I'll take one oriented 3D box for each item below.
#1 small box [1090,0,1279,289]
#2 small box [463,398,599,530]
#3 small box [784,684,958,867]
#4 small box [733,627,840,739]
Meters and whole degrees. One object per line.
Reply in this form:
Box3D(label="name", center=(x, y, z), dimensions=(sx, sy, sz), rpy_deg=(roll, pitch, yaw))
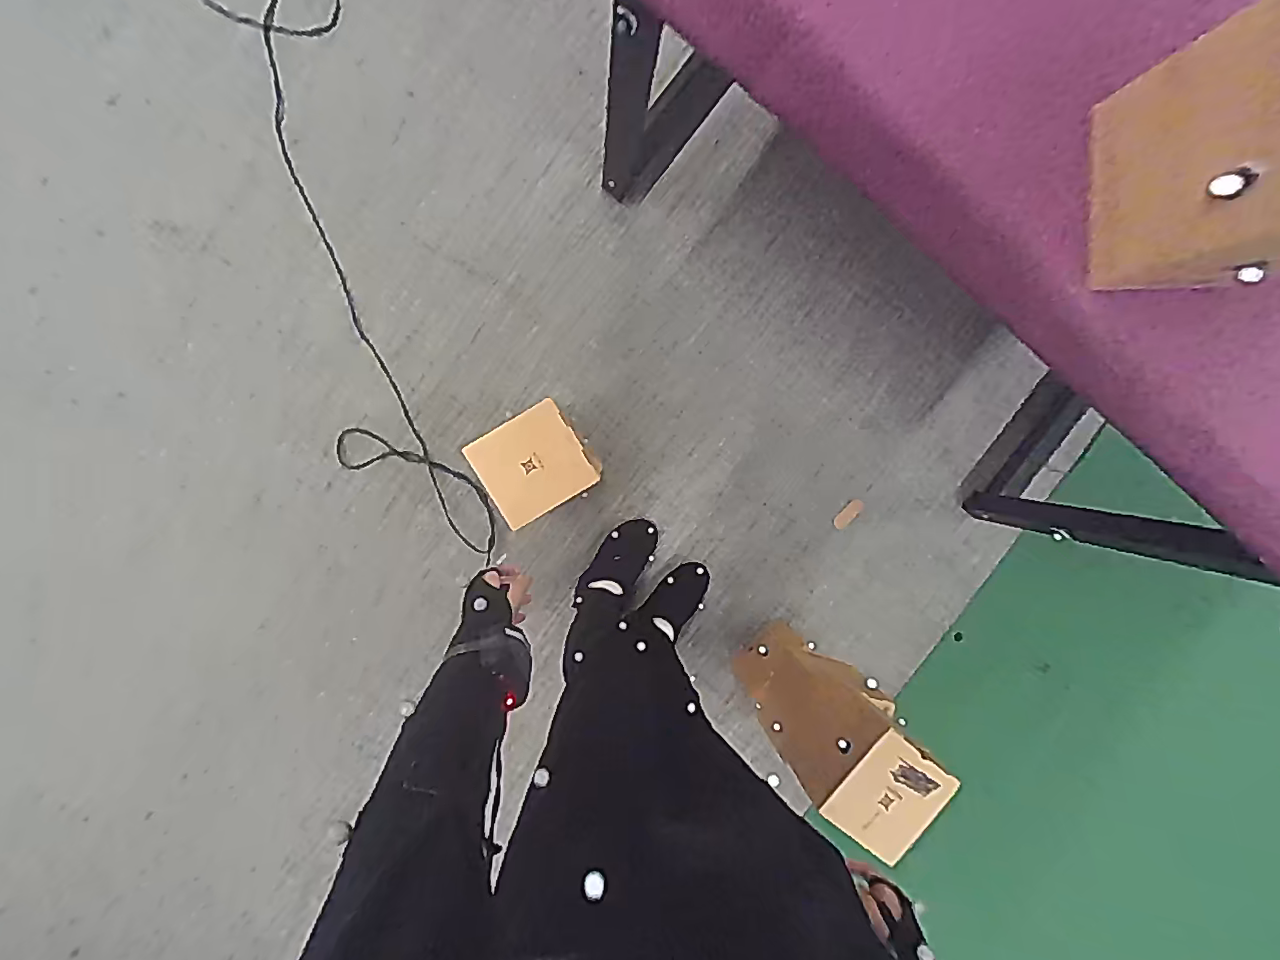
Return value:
Box3D(label="small box", center=(0.533, -0.269, 0.462), dimensions=(0.168, 0.176, 0.179), rpy_deg=(-3, 95, -6))
Box3D(label="small box", center=(-0.187, -0.031, 0.985), dimensions=(0.179, 0.176, 0.168), rpy_deg=(-31, 96, -3))
Box3D(label="small box", center=(0.378, 0.486, 0.918), dimensions=(0.168, 0.176, 0.179), rpy_deg=(40, 91, -8))
Box3D(label="small box", center=(0.341, 0.463, 1.244), dimensions=(0.168, 0.176, 0.179), rpy_deg=(-42, 97, 0))
